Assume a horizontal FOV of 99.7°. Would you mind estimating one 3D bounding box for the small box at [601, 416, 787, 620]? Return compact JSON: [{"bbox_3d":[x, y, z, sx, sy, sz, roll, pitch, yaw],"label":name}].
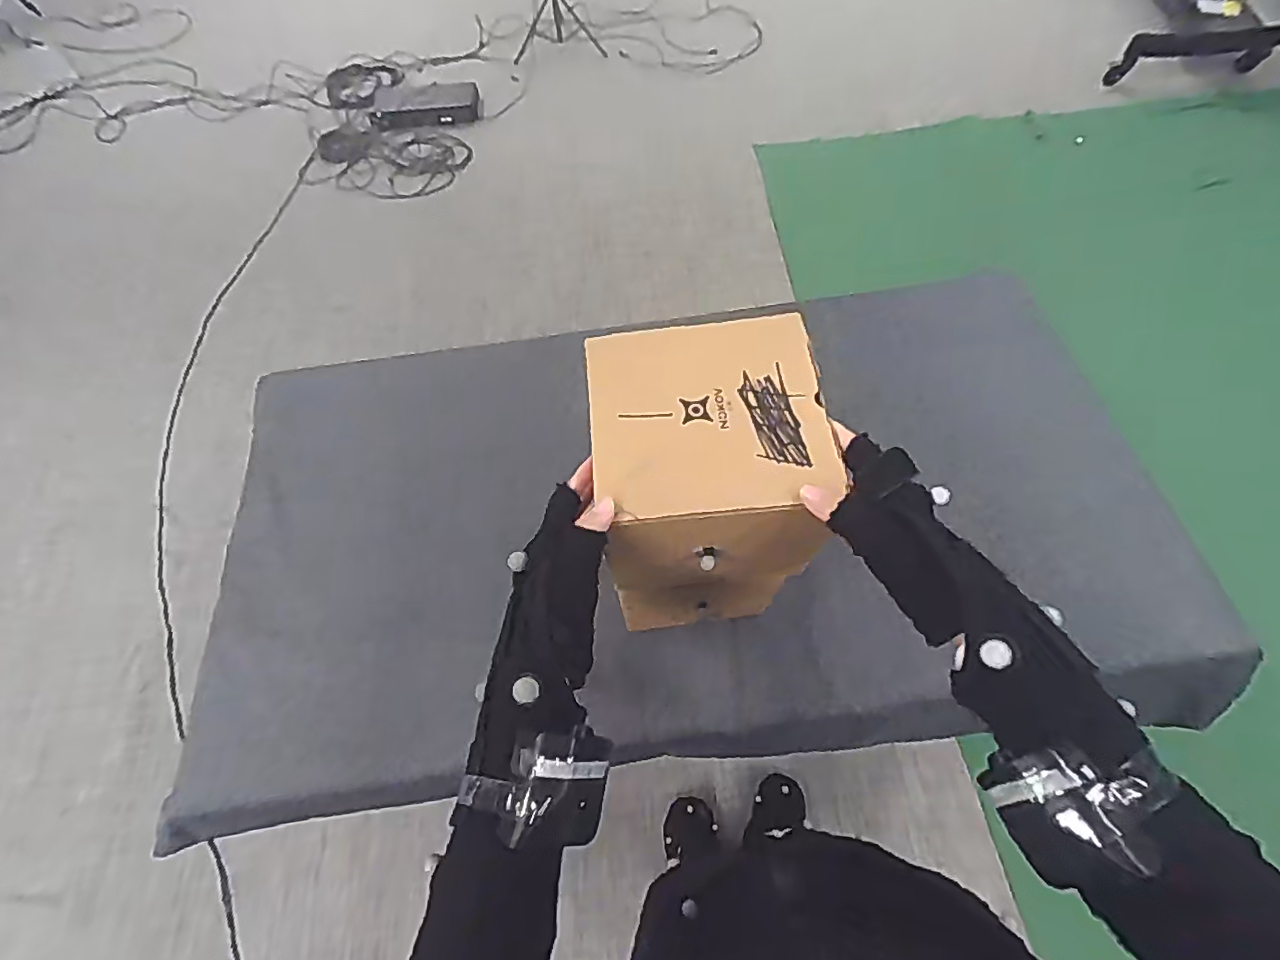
[{"bbox_3d":[0.055,0.054,0.620,0.168,0.176,0.179,-9,63,-1],"label":"small box"}]
